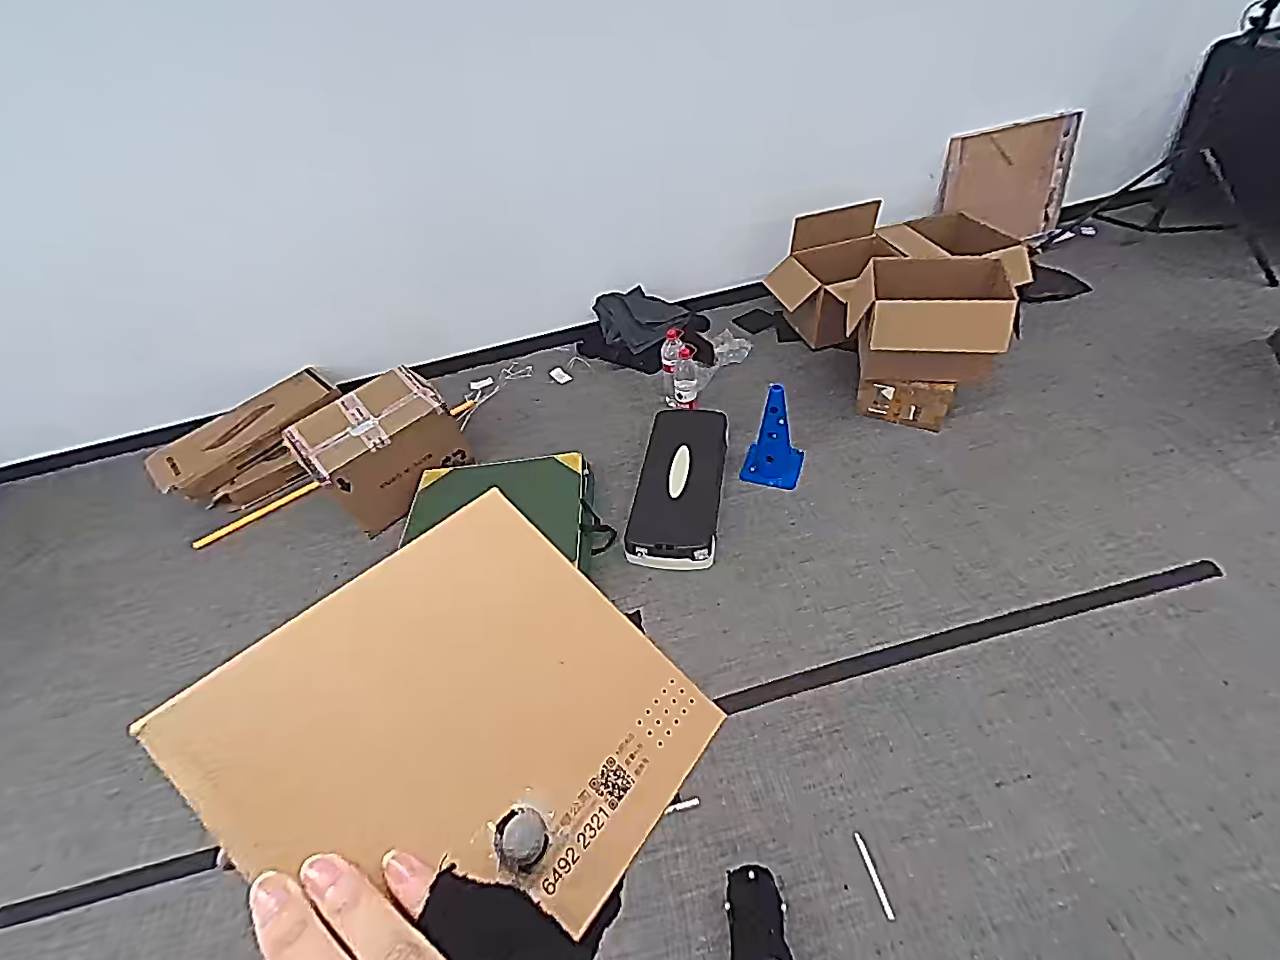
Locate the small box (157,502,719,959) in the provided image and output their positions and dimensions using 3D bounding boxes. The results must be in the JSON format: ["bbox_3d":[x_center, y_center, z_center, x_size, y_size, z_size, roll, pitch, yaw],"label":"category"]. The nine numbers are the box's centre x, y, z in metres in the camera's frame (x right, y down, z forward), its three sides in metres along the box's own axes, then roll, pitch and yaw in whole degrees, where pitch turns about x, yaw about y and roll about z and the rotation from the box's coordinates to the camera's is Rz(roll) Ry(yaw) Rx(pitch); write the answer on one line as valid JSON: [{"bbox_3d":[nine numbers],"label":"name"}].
[{"bbox_3d":[-0.091,0.152,0.290,0.176,0.179,0.168,42,51,9],"label":"small box"}]
